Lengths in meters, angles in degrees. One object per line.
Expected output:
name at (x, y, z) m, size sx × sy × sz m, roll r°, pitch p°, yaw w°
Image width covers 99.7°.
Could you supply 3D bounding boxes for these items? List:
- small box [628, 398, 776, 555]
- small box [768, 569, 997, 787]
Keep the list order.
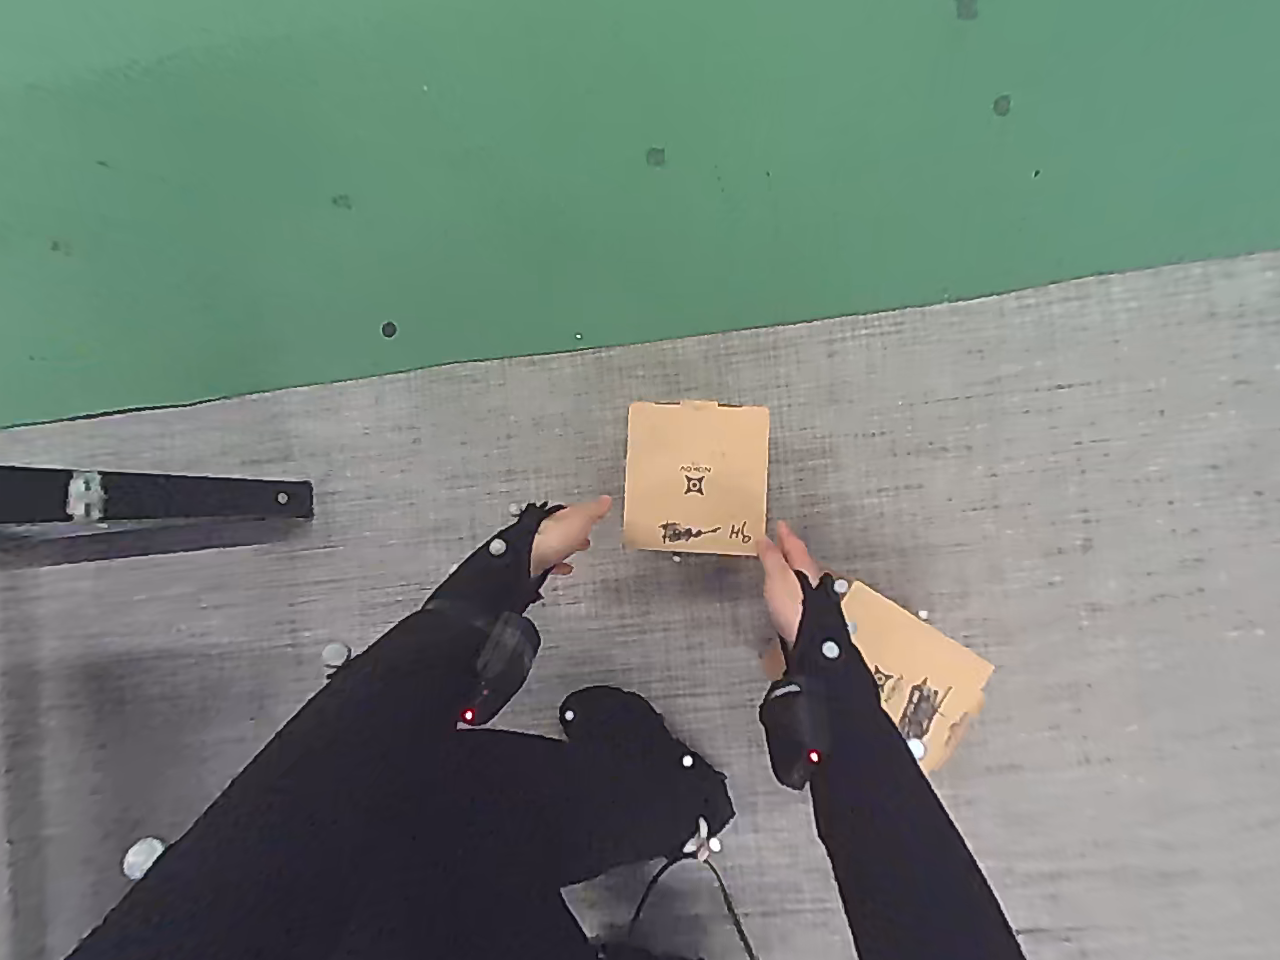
small box at (0.076, -0.001, 0.704) m, size 0.168 × 0.176 × 0.179 m, roll 3°, pitch 88°, yaw 4°
small box at (0.283, 0.227, 0.677) m, size 0.179 × 0.176 × 0.168 m, roll 33°, pitch 91°, yaw 7°
